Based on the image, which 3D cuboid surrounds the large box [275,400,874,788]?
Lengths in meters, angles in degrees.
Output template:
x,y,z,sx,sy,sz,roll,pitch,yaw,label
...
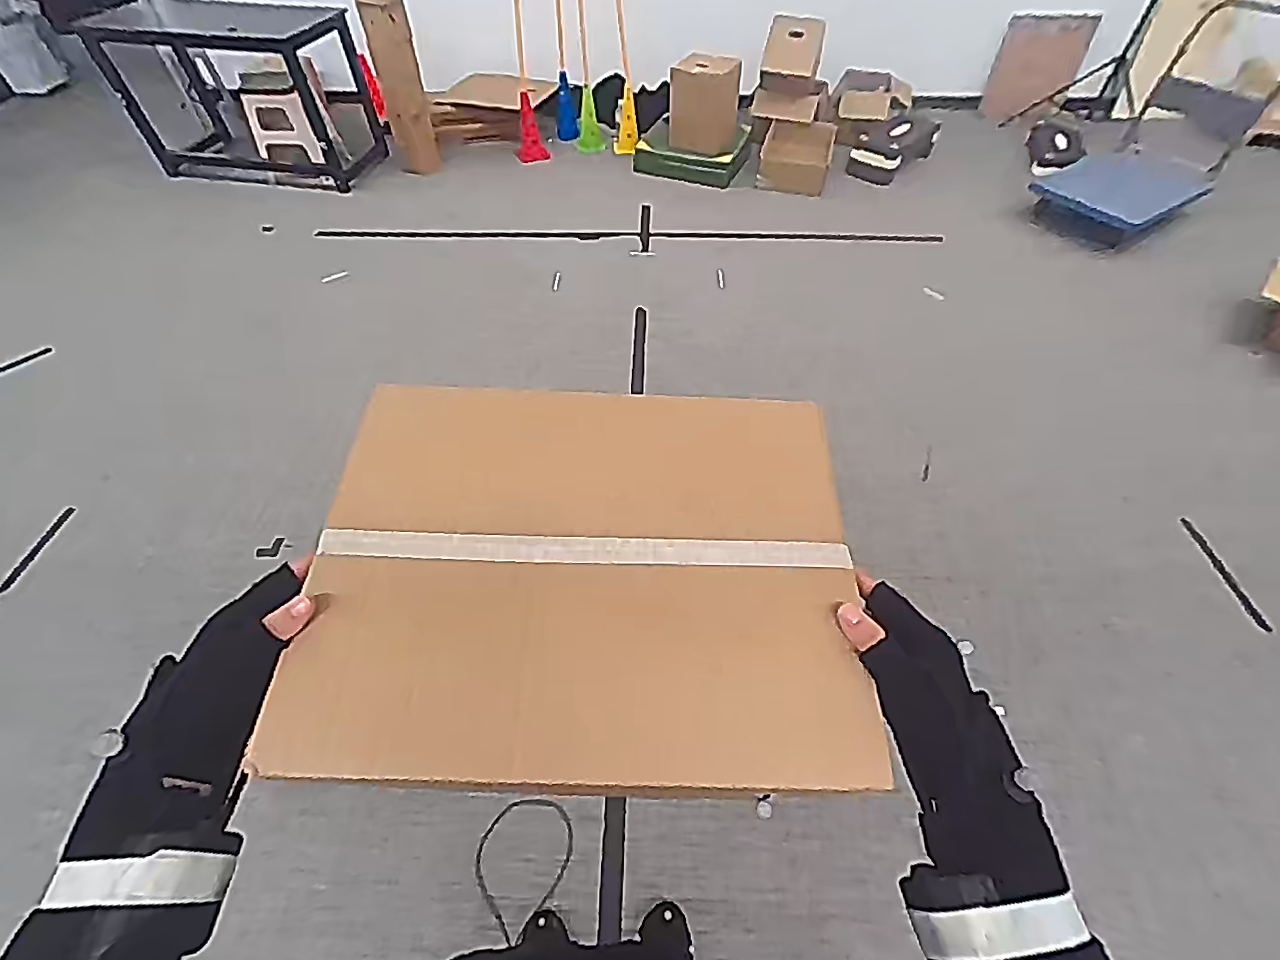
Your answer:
x,y,z,sx,sy,sz,roll,pitch,yaw,label
-0.042,0.136,0.557,0.408,0.320,0.320,2,59,-1,large box
